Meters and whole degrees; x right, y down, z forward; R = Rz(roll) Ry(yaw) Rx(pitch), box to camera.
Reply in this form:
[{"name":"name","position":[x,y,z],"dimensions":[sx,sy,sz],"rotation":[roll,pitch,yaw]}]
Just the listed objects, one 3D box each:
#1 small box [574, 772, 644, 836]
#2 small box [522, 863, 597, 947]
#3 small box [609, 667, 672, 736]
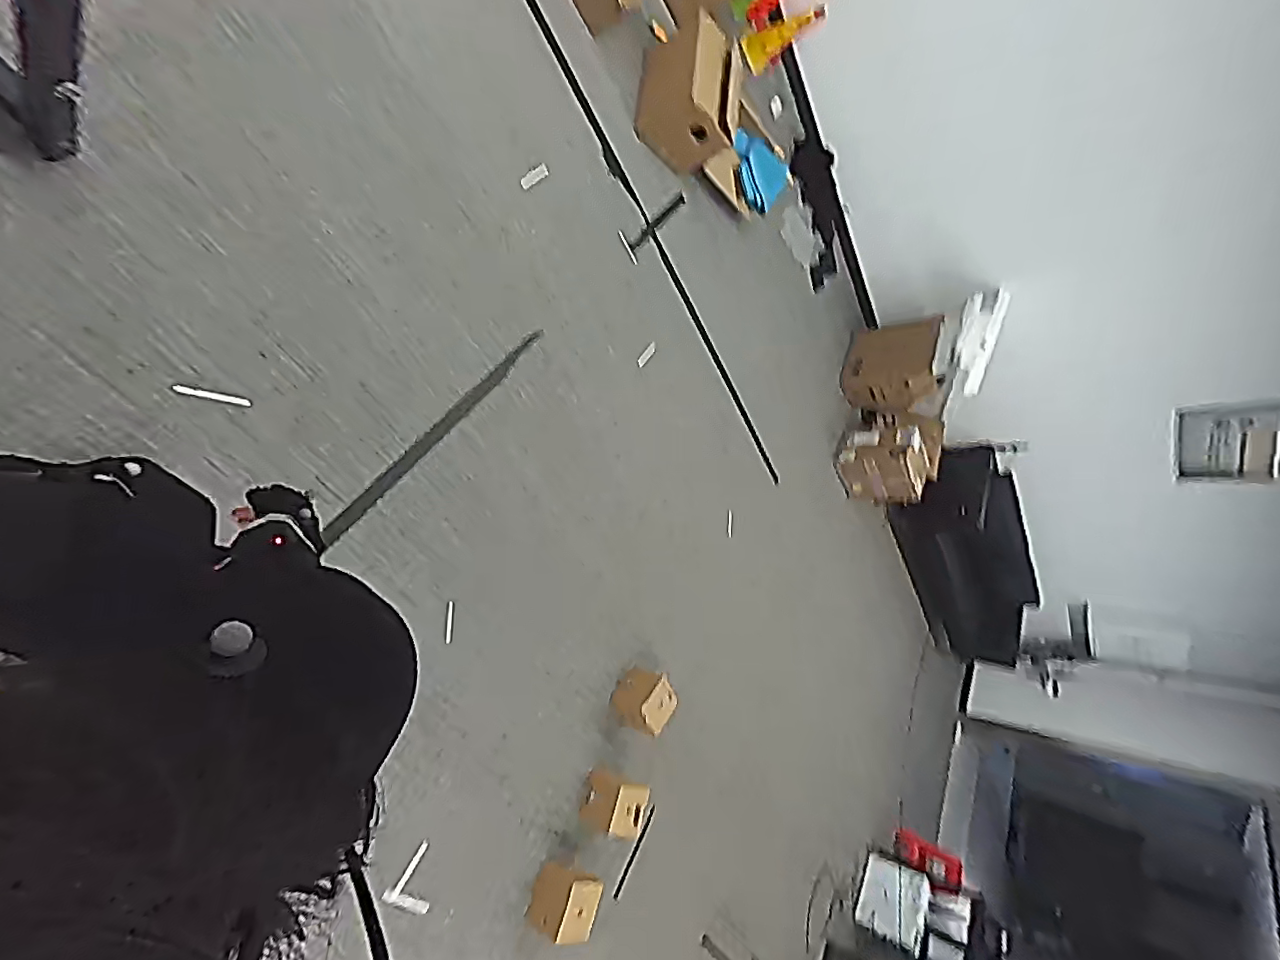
[{"name":"small box","position":[-0.120,1.231,2.060],"dimensions":[0.179,0.176,0.168],"rotation":[35,64,-41]},{"name":"small box","position":[-0.283,1.468,1.878],"dimensions":[0.168,0.176,0.179],"rotation":[37,62,-42]},{"name":"small box","position":[-0.004,0.896,2.199],"dimensions":[0.179,0.176,0.168],"rotation":[-44,121,-39]}]
